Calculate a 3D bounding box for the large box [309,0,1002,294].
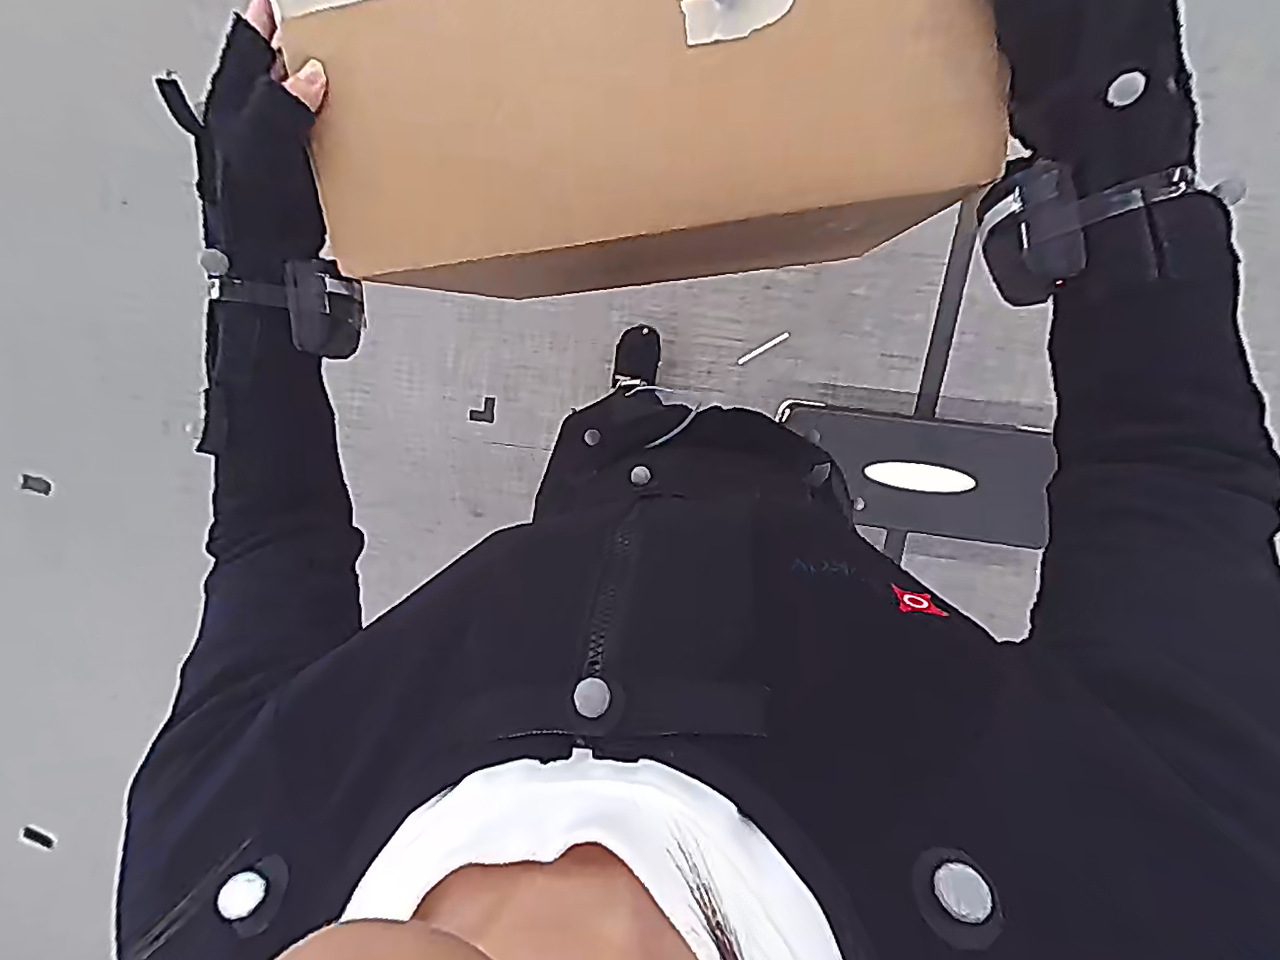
[{"bbox_3d":[0.009,-0.349,0.443,0.408,0.320,0.320,-4,105,9],"label":"large box"}]
